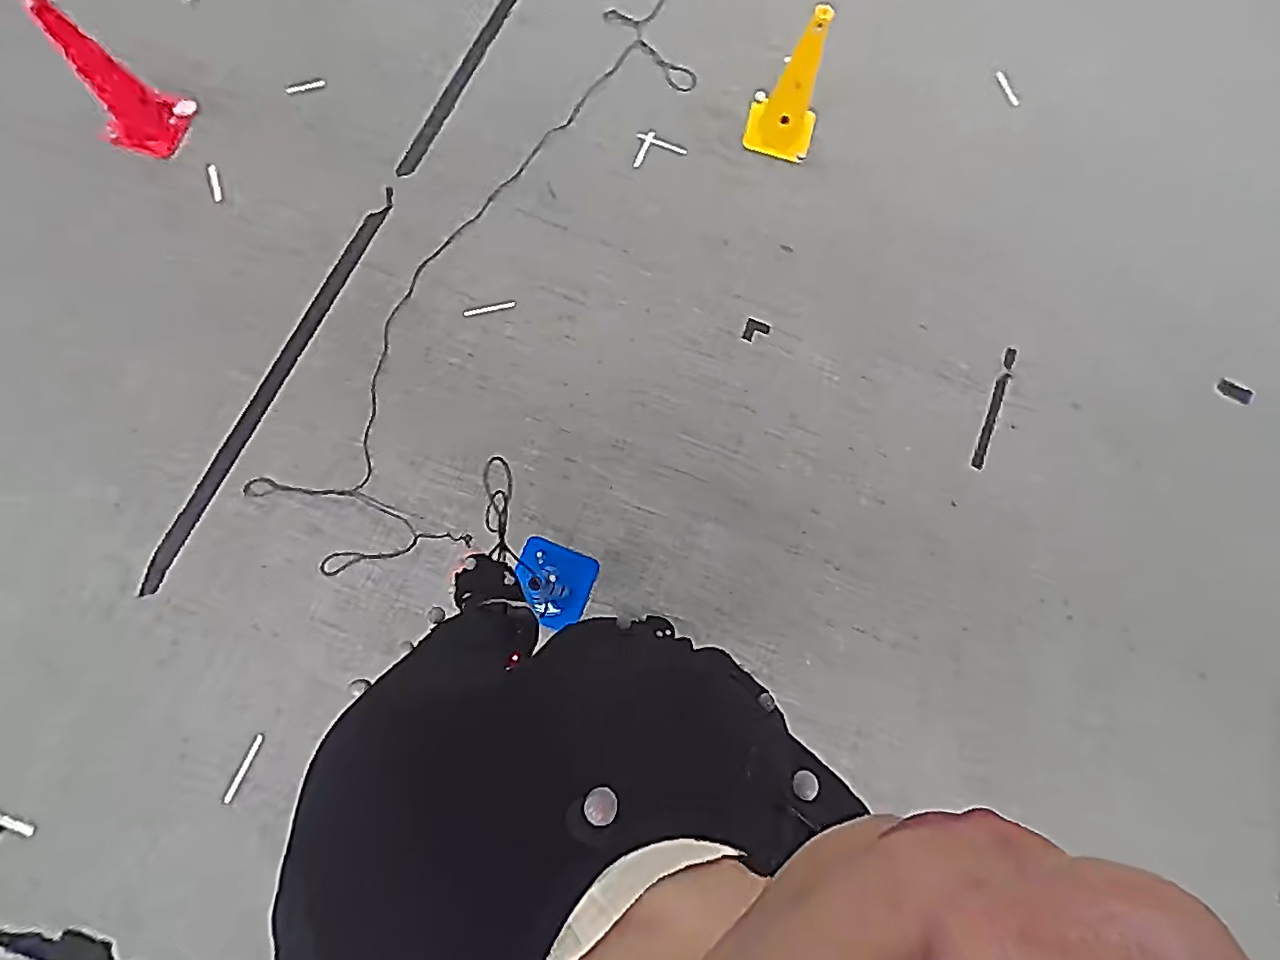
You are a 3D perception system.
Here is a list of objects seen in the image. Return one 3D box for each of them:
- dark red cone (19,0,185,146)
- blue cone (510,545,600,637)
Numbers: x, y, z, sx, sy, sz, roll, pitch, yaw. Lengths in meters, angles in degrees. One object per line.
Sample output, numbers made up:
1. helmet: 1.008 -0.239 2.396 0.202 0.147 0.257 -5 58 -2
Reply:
1. dark red cone: -1.375 -1.058 1.338 0.201 0.394 0.202 15 78 -2
2. blue cone: -0.198 0.242 1.185 0.192 0.380 0.193 24 78 0
